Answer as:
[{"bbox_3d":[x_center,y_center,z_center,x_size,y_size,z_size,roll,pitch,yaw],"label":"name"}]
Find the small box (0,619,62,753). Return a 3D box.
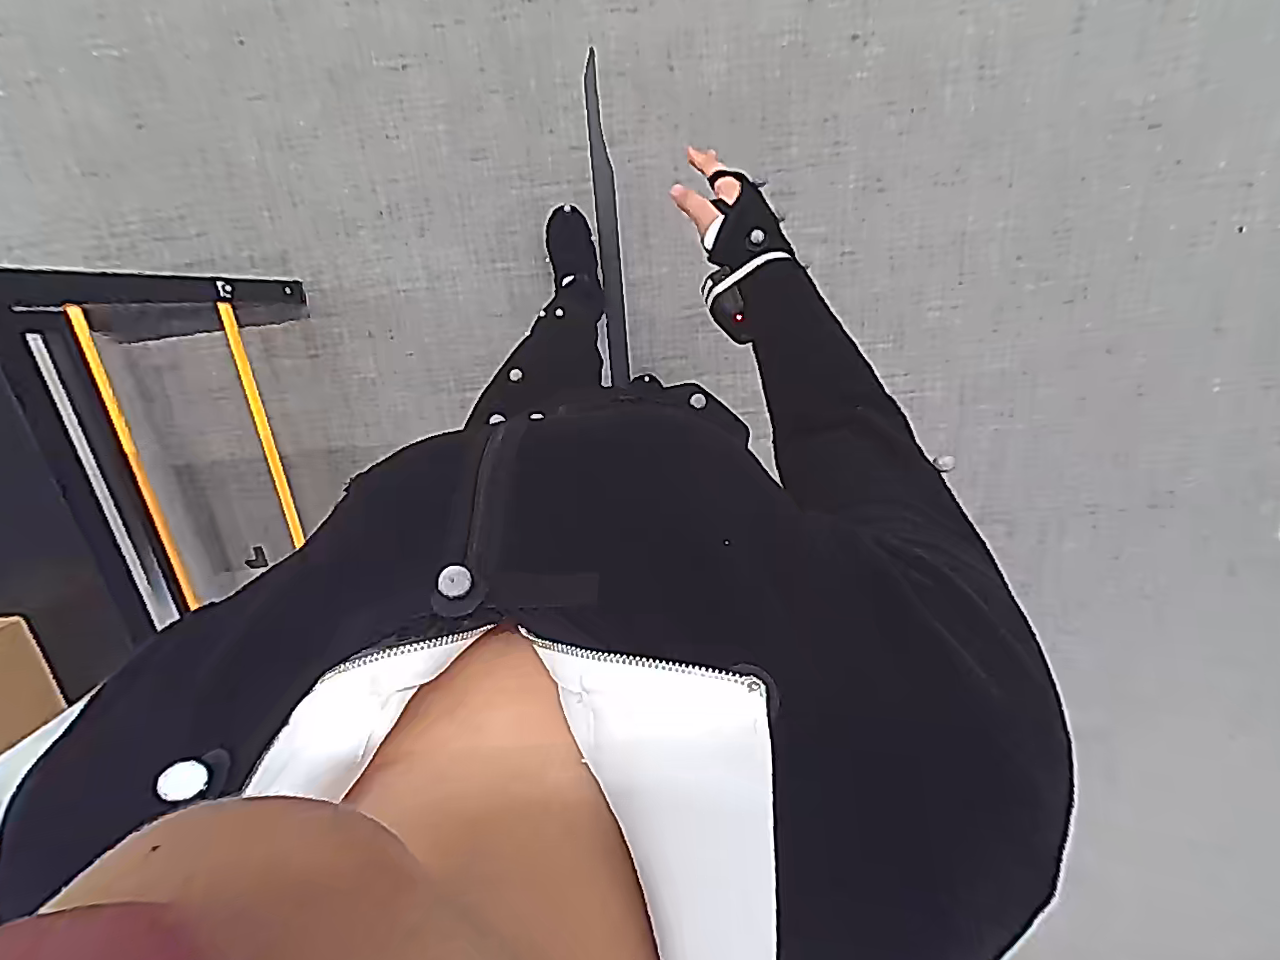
[{"bbox_3d":[-1.009,0.322,0.774,0.168,0.176,0.179,-5,107,3],"label":"small box"}]
